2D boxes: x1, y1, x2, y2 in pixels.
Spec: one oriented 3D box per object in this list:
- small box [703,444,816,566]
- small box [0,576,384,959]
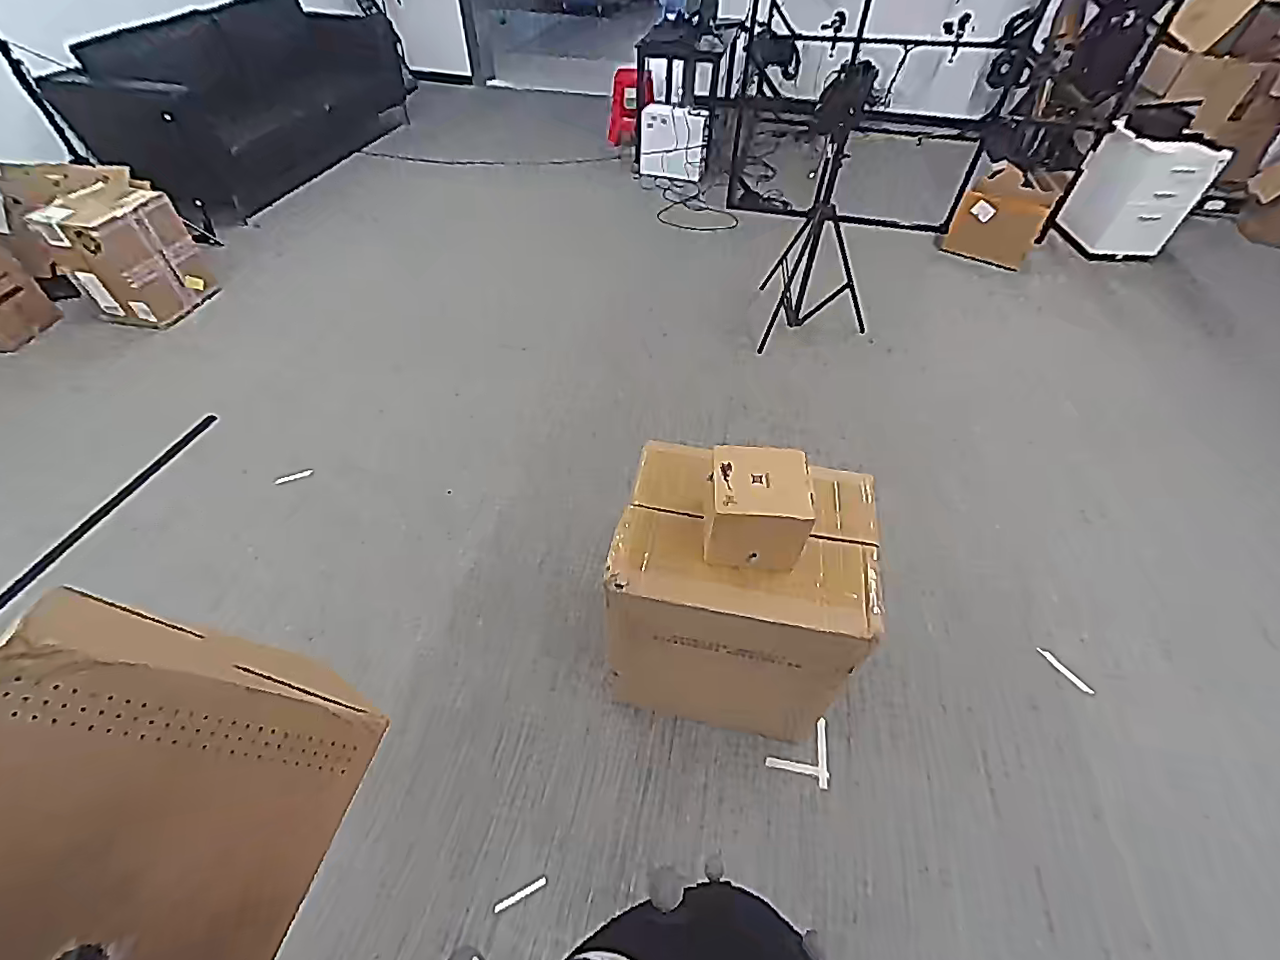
[{"bbox_3d":[0.219,0.052,1.037,0.179,0.176,0.168,3,49,2],"label":"small box"},{"bbox_3d":[-0.284,0.169,0.310,0.168,0.179,0.176,-5,57,47],"label":"small box"}]
